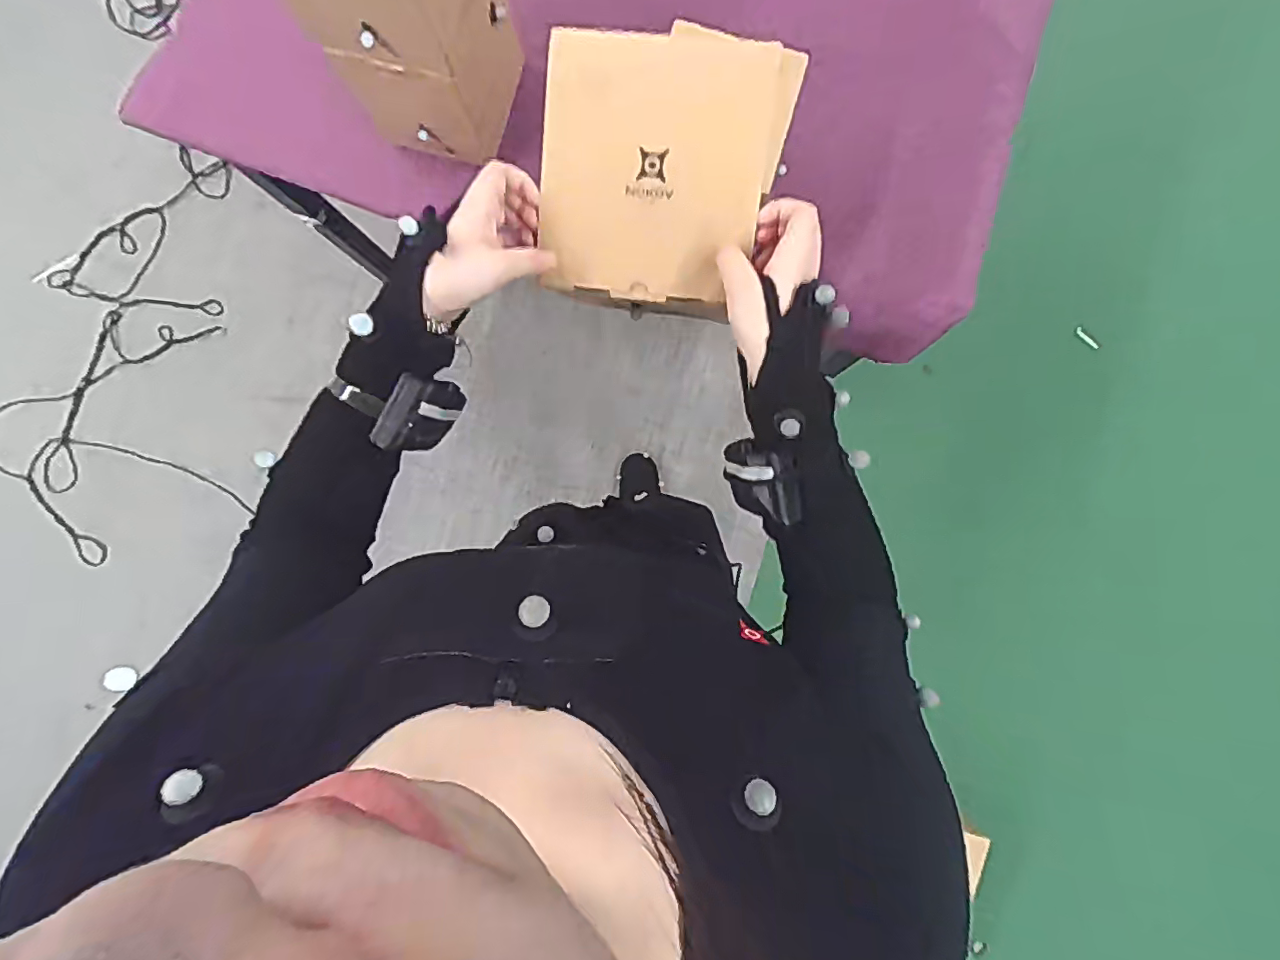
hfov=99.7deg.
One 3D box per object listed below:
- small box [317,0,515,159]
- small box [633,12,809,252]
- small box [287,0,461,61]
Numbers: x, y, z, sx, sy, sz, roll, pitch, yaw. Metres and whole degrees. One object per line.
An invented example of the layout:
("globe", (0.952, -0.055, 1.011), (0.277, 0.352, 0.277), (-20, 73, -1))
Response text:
("small box", (-0.276, -0.571, 0.709), (0.168, 0.176, 0.179), (15, 87, 2))
("small box", (0.094, -0.430, 0.697), (0.168, 0.176, 0.179), (17, 89, 2))
("small box", (-0.282, -0.576, 0.546), (0.179, 0.176, 0.168), (15, 87, 1))
